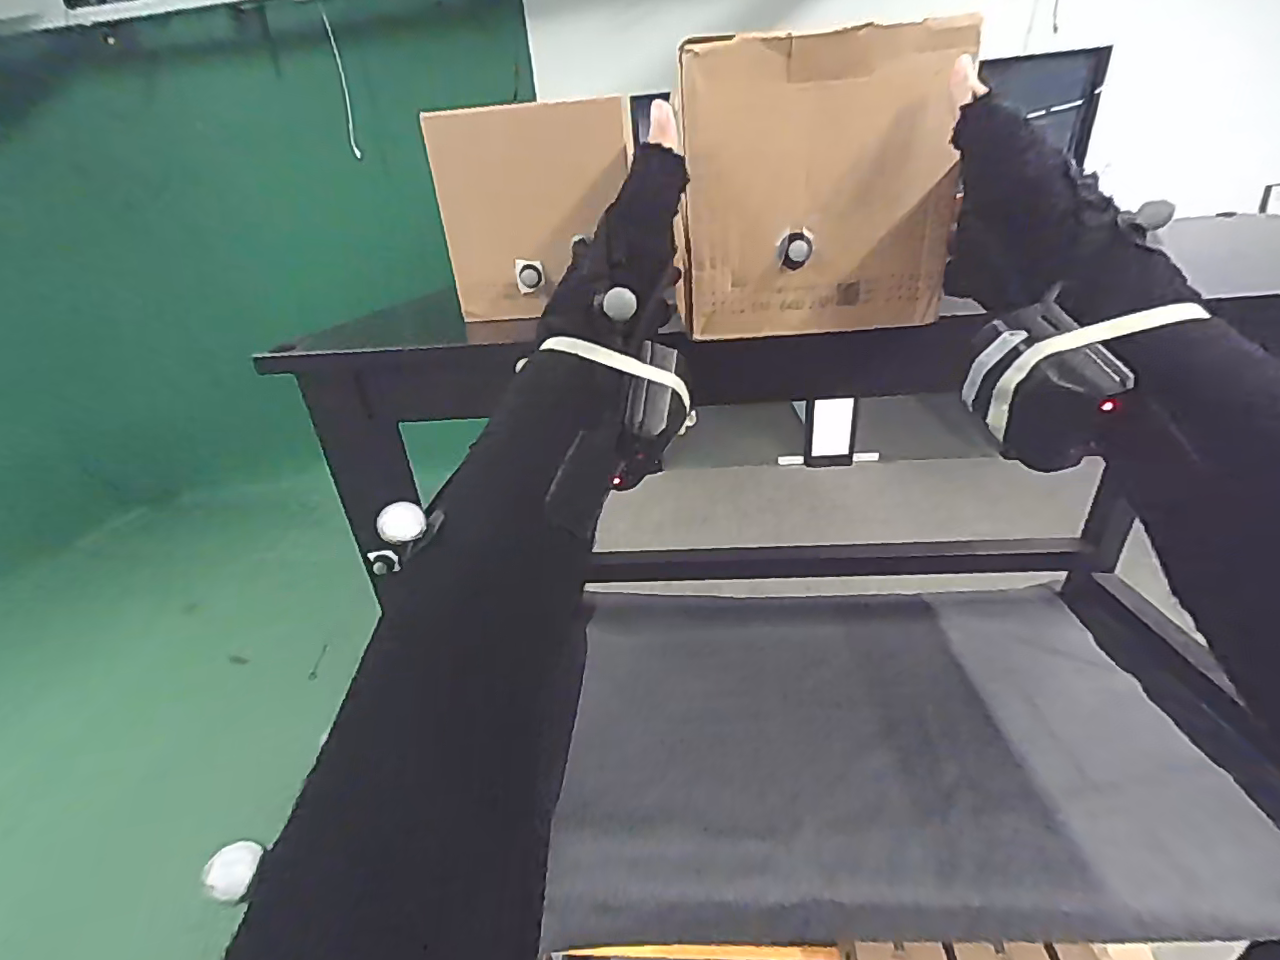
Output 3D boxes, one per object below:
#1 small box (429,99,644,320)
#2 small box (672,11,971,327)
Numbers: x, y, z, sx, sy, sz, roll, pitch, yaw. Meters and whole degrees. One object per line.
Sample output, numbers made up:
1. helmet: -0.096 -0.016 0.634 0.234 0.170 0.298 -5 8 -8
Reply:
1. small box: -0.086 -0.263 0.547 0.168 0.176 0.179 -5 26 2
2. small box: 0.110 -0.215 0.412 0.168 0.176 0.179 -4 26 3
